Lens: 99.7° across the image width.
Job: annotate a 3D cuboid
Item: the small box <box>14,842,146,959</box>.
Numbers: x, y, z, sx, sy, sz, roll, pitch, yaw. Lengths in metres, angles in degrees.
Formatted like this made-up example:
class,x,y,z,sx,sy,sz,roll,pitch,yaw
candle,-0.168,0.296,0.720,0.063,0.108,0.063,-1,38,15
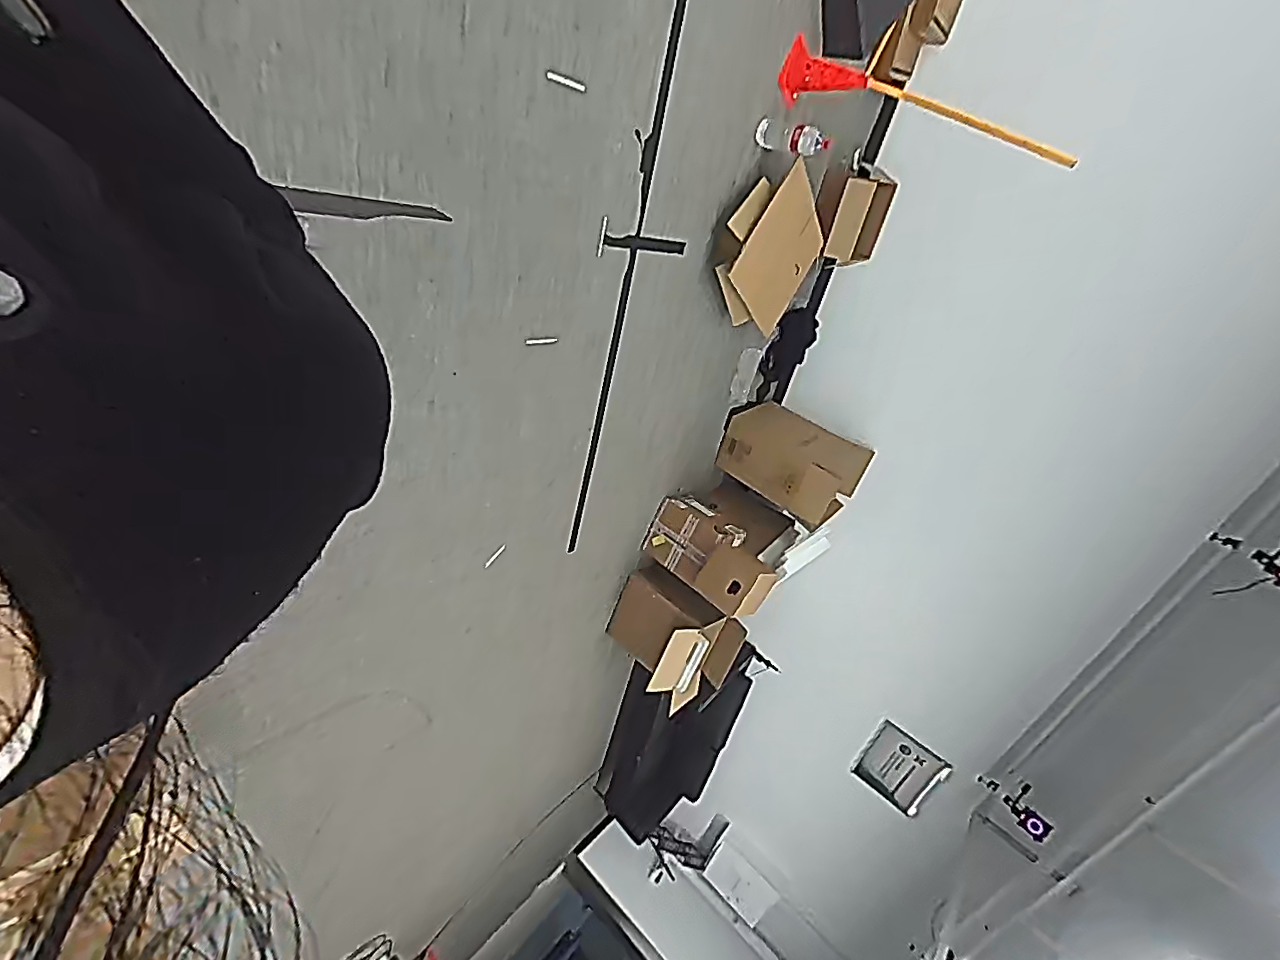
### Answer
class,x,y,z,sx,sy,sz,roll,pitch,yaw
small box,-1.340,1.025,1.297,0.179,0.176,0.168,-22,134,-46
